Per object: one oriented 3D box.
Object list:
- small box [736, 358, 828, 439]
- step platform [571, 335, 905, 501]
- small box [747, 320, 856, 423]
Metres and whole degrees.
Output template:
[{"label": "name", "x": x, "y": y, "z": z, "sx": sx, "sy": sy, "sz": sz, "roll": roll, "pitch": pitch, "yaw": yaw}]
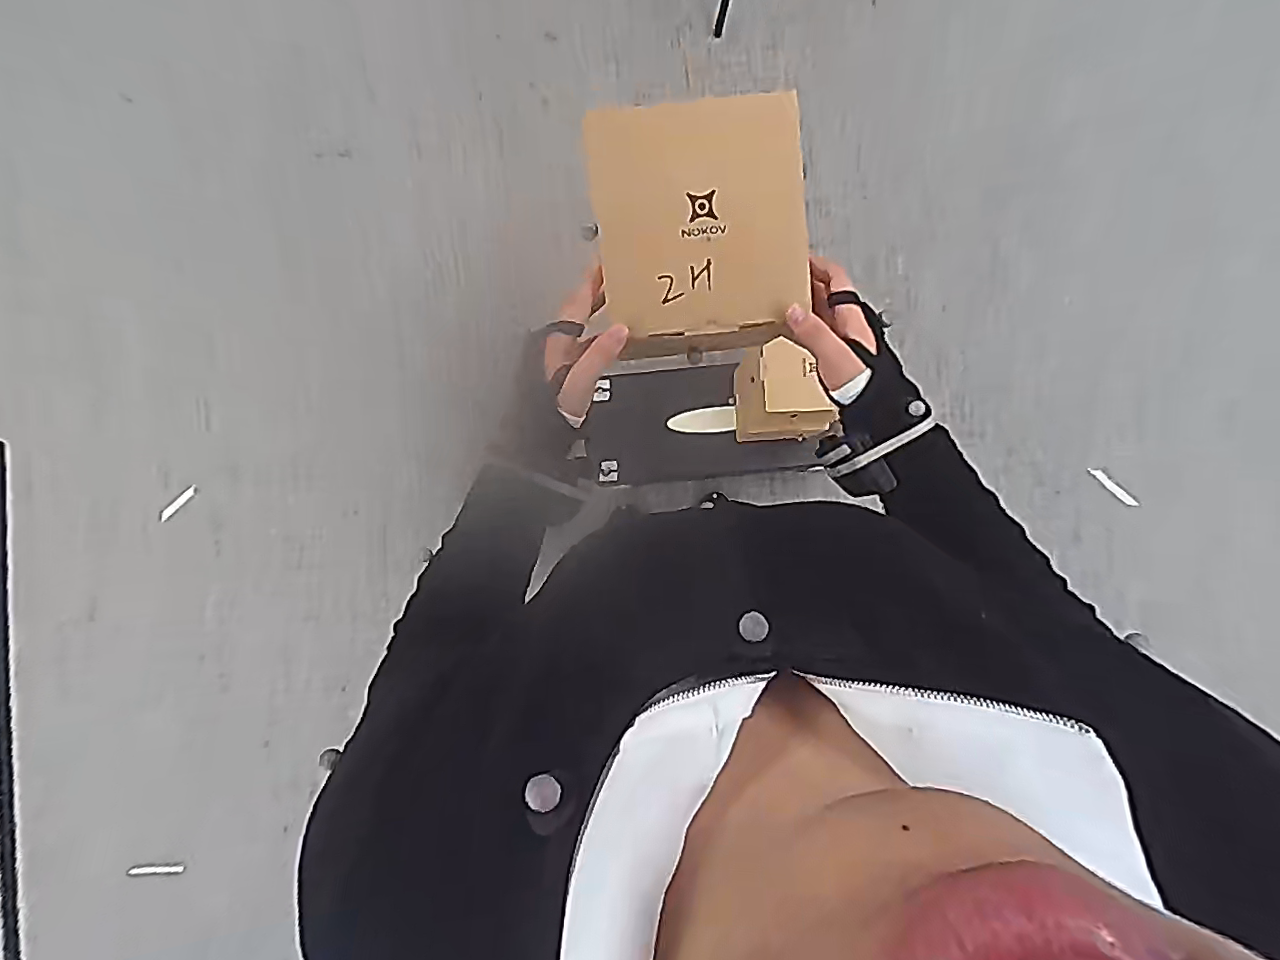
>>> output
[{"label": "small box", "x": 0.312, "y": -0.184, "z": 1.236, "sx": 0.179, "sy": 0.176, "sz": 0.168, "roll": -4, "pitch": 88, "yaw": 2}, {"label": "step platform", "x": 0.199, "y": -0.125, "z": 1.199, "sx": 0.684, "sy": 0.204, "sz": 0.286, "roll": -6, "pitch": 88, "yaw": 0}, {"label": "small box", "x": 0.310, "y": -0.207, "z": 1.072, "sx": 0.179, "sy": 0.176, "sz": 0.168, "roll": -2, "pitch": 88, "yaw": 1}]
